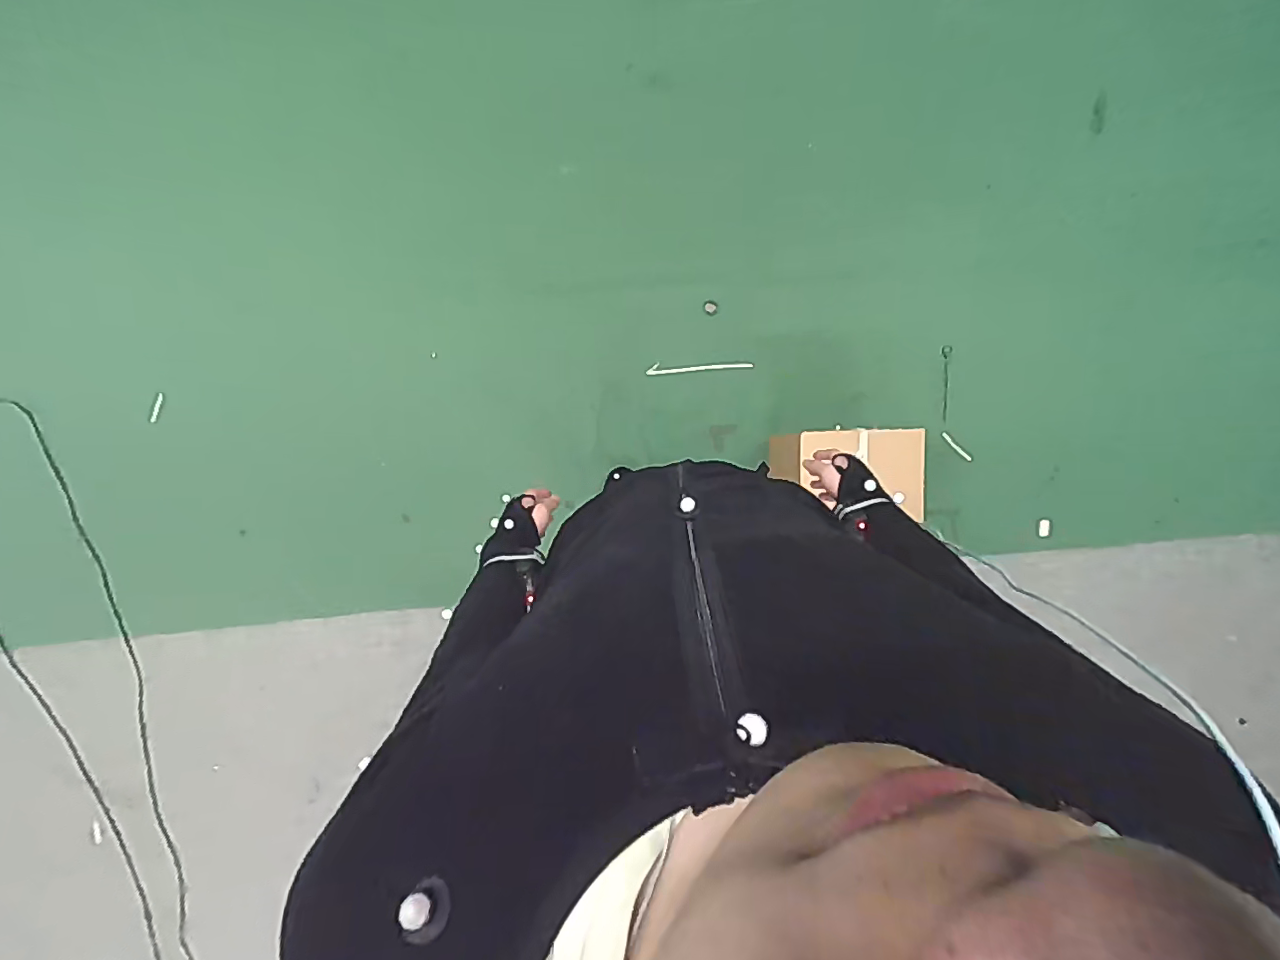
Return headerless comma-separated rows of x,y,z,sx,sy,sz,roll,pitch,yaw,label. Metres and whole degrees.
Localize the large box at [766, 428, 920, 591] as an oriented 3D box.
0.548,0.065,1.508,0.320,0.320,0.408,-2,94,-1,large box
